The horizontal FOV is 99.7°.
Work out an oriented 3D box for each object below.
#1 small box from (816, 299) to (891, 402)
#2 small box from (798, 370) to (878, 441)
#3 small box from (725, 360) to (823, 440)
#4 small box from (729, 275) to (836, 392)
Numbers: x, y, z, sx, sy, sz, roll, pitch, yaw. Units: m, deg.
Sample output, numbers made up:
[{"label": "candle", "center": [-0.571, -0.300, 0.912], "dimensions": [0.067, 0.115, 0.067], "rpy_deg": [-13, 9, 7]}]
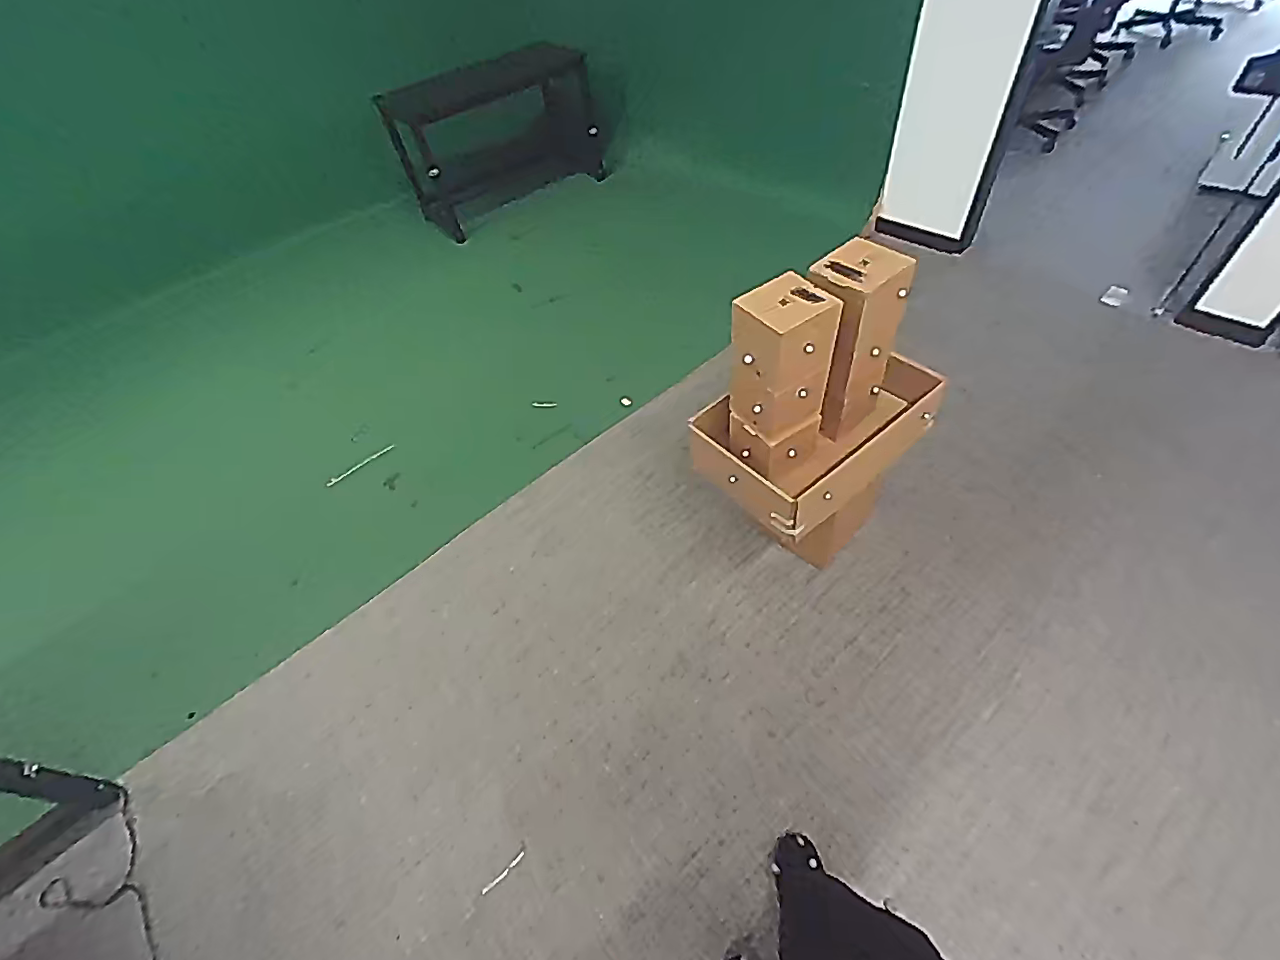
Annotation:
[{"label": "small box", "center": [0.530, -0.345, 1.444], "dimensions": [0.179, 0.176, 0.168], "rpy_deg": [-37, 56, -17]}, {"label": "small box", "center": [0.554, -0.247, 1.571], "dimensions": [0.179, 0.176, 0.168], "rpy_deg": [-37, 55, -18]}, {"label": "small box", "center": [0.336, -0.233, 1.378], "dimensions": [0.179, 0.176, 0.168], "rpy_deg": [-29, 53, -16]}, {"label": "small box", "center": [0.319, -0.337, 1.253], "dimensions": [0.179, 0.176, 0.168], "rpy_deg": [-30, 54, -16]}]
